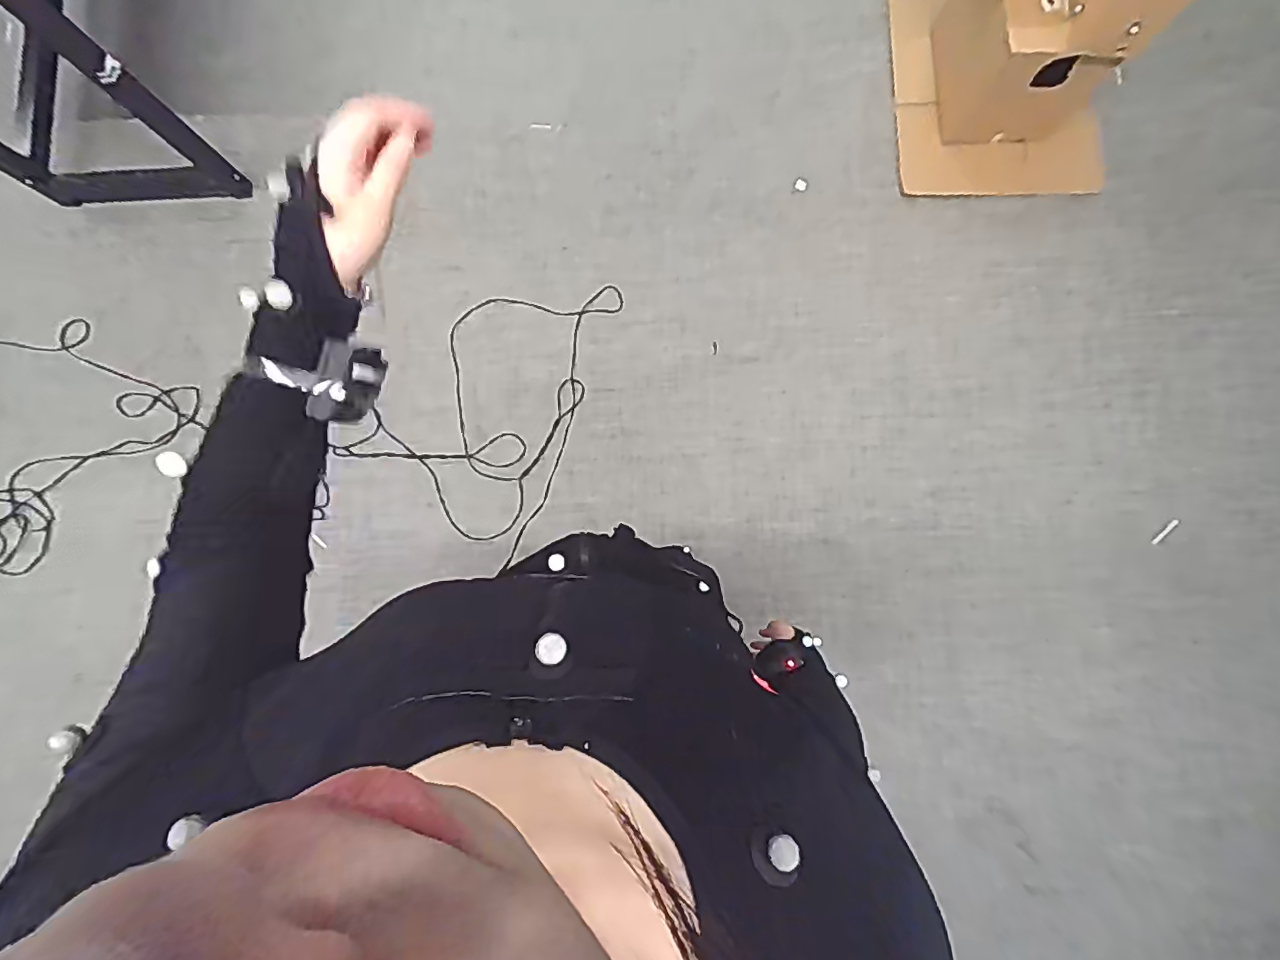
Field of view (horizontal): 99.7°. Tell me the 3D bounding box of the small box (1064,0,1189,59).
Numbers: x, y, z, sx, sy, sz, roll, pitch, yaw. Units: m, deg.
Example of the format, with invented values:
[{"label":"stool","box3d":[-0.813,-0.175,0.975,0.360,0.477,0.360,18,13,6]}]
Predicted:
[{"label":"small box","box3d":[1.125,-1.117,1.247,0.168,0.176,0.179,2,81,0]}]
